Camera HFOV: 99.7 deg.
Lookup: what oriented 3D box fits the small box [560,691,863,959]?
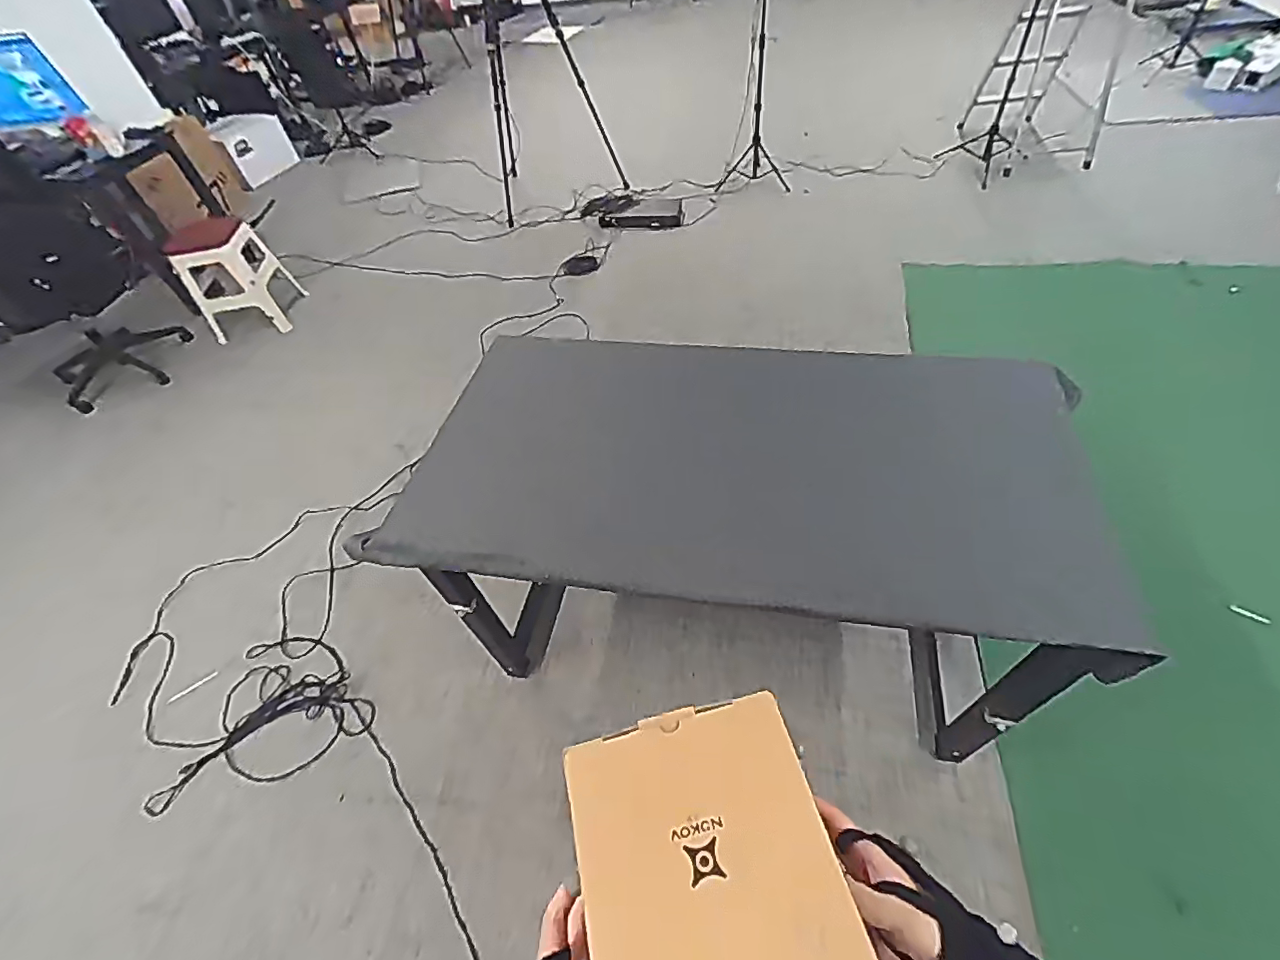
[{"bbox_3d":[0.045,0.295,0.417,0.168,0.176,0.179,-14,48,-4],"label":"small box"}]
